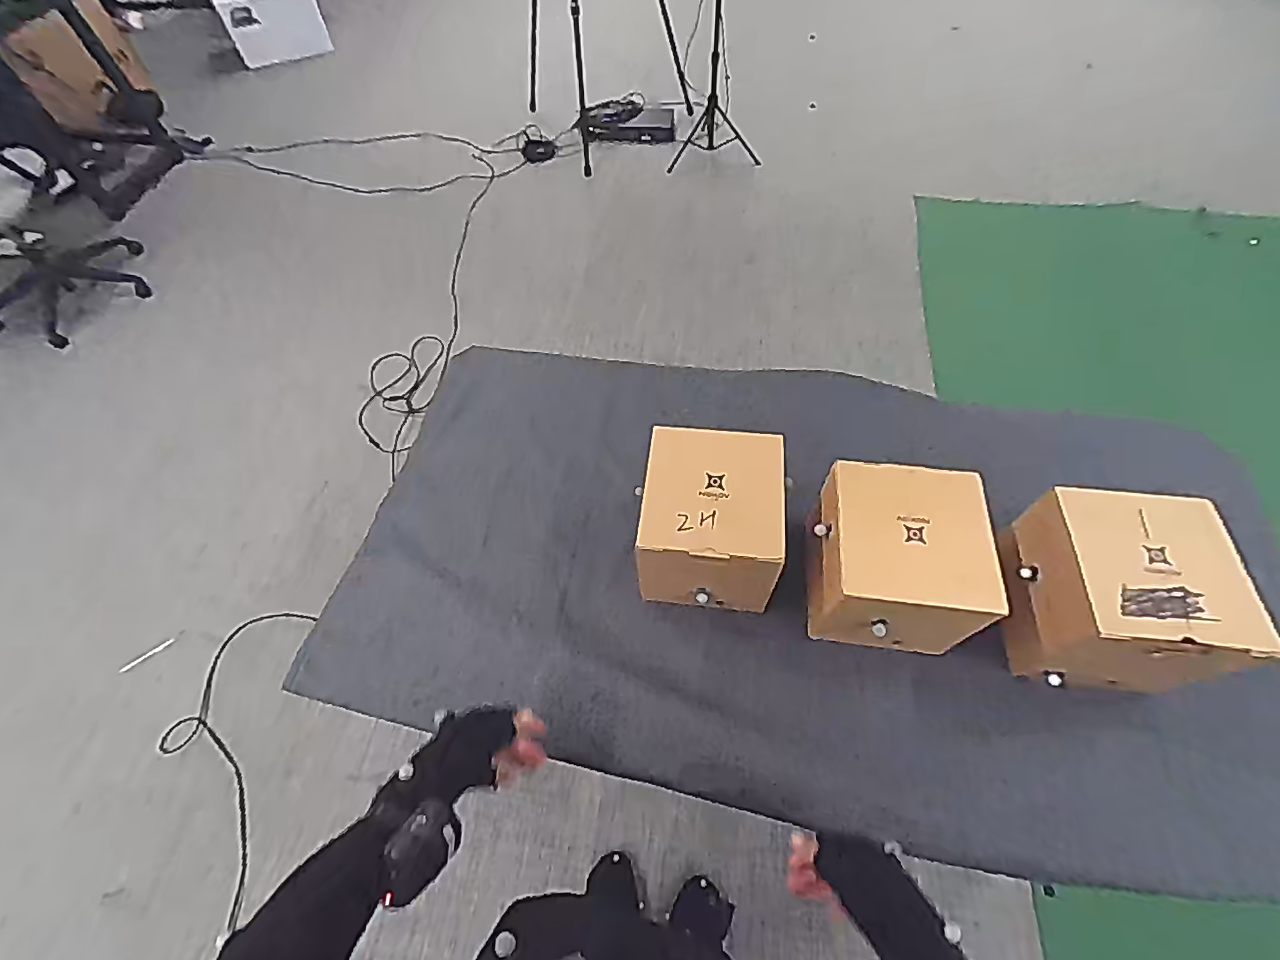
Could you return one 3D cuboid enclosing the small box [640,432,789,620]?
[{"bbox_3d":[0.094,0.062,0.699,0.168,0.176,0.179,4,57,7],"label":"small box"}]

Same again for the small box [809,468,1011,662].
[{"bbox_3d":[0.308,0.108,0.659,0.168,0.176,0.179,5,57,7],"label":"small box"}]

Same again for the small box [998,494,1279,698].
[{"bbox_3d":[0.543,0.139,0.622,0.168,0.176,0.179,5,57,7],"label":"small box"}]
